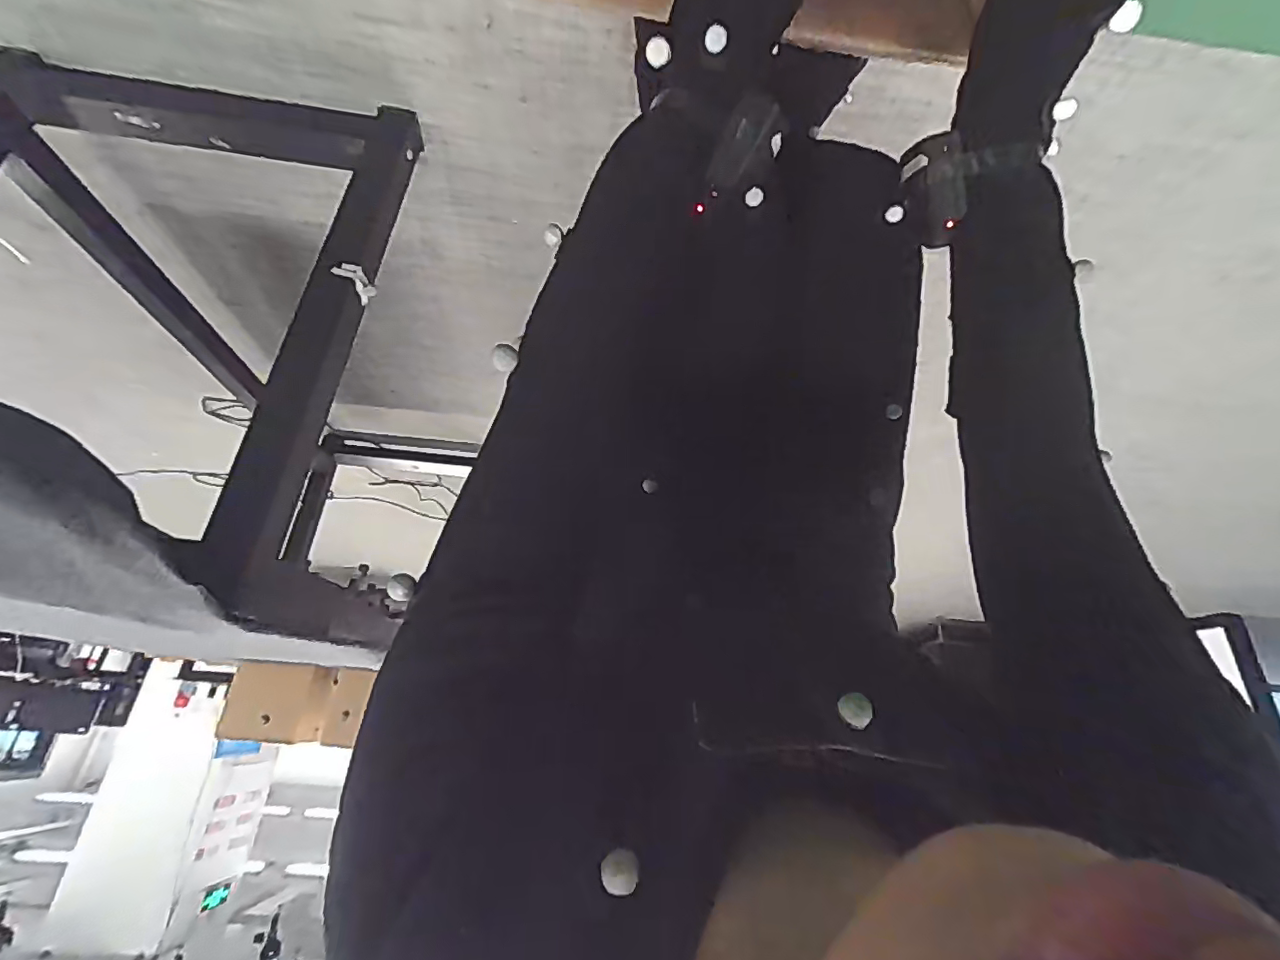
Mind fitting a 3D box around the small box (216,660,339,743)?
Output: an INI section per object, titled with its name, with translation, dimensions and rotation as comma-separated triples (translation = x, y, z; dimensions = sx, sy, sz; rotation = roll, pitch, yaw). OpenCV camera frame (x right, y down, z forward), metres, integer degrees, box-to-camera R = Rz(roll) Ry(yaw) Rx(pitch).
[small box]
translation = -0.848, 0.527, 1.290
dimensions = 0.179, 0.176, 0.168
rotation = 6, 155, -3
